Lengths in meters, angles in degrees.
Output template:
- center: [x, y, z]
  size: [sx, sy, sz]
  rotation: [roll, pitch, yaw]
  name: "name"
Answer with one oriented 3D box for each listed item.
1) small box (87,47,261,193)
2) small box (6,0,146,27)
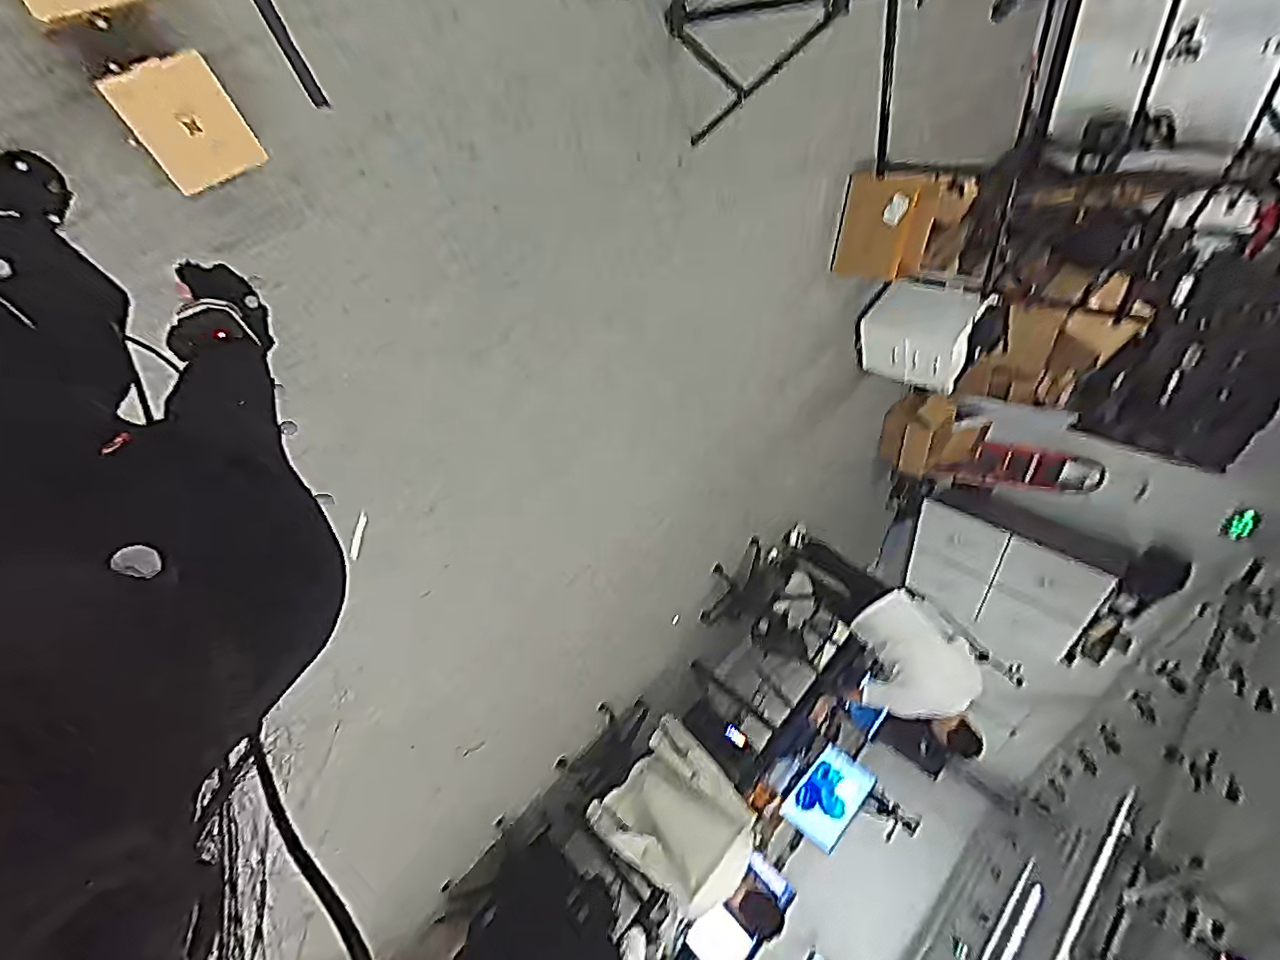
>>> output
- center: [-0.846, -0.651, 0.984]
  size: [0.168, 0.176, 0.179]
  rotation: [-41, 140, -21]
  name: "small box"
- center: [-0.899, -0.812, 0.815]
  size: [0.179, 0.176, 0.168]
  rotation: [-39, 138, -24]
  name: "small box"
